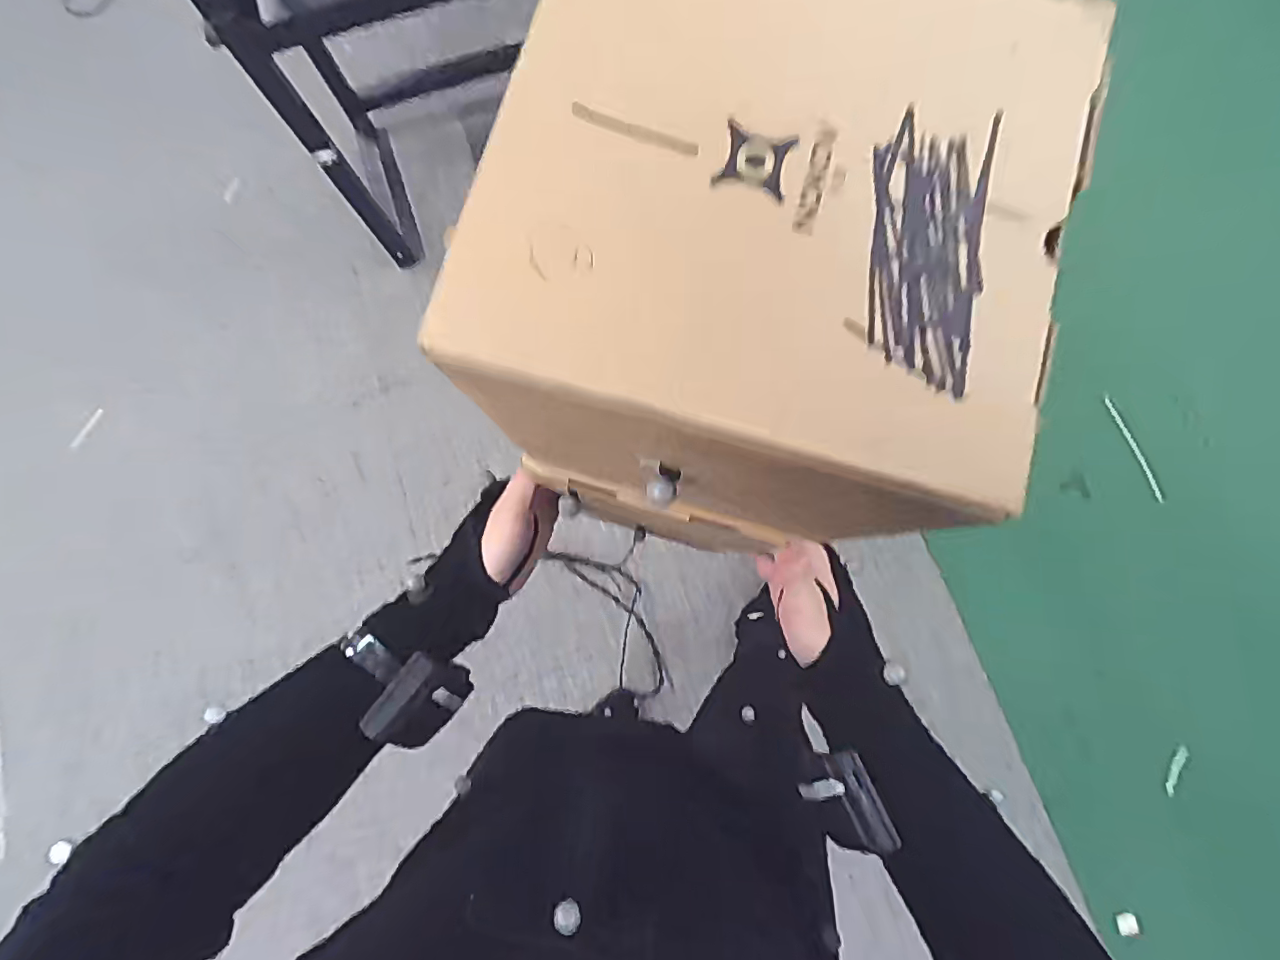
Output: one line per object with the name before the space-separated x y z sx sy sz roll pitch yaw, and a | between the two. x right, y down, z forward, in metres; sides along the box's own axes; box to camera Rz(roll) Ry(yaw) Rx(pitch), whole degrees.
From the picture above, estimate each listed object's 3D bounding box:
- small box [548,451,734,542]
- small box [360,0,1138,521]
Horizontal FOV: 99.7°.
small box | 0.024 -0.042 0.551 0.168 0.176 0.179 18 81 2
small box | 0.034 -0.085 0.225 0.179 0.176 0.168 18 82 3
